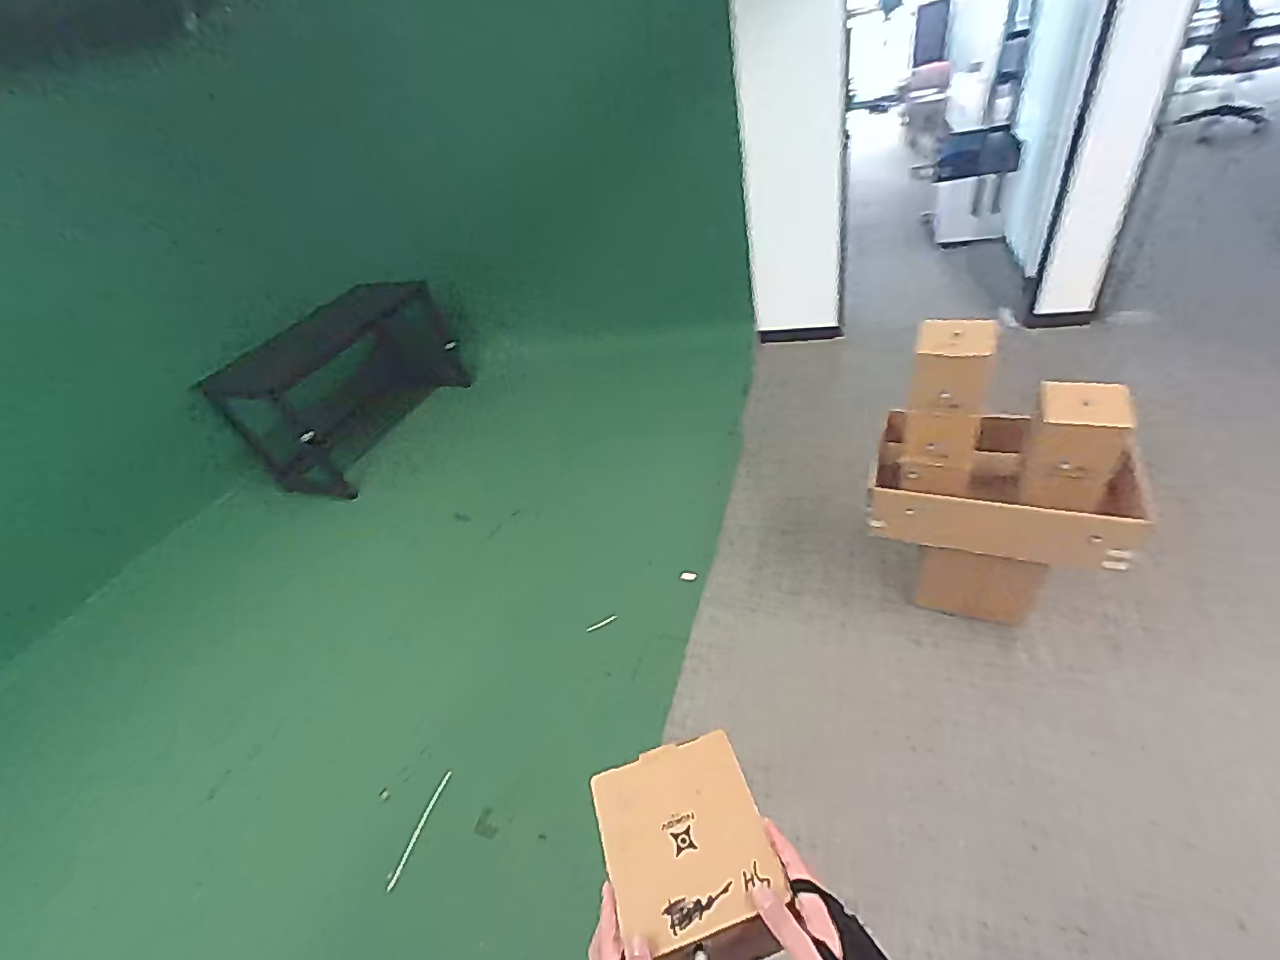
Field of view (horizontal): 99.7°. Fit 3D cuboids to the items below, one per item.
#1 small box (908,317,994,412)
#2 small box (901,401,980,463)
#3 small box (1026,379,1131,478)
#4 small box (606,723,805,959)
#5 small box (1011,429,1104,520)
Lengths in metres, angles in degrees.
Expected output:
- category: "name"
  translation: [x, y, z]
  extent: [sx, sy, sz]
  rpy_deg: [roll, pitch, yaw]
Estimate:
- category: "small box"
  translation: [0.789, -0.297, 1.380]
  extent: [0.168, 0.176, 0.179]
  rpy_deg: [10, 46, 28]
- category: "small box"
  translation: [0.822, -0.172, 1.483]
  extent: [0.168, 0.176, 0.179]
  rpy_deg: [9, 46, 27]
- category: "small box"
  translation: [1.081, -0.132, 1.348]
  extent: [0.168, 0.176, 0.179]
  rpy_deg: [8, 46, 27]
- category: "small box"
  translation: [0.070, 0.417, 0.610]
  extent: [0.168, 0.176, 0.179]
  rpy_deg: [-17, 38, -4]
- category: "small box"
  translation: [1.116, -0.014, 1.456]
  extent: [0.168, 0.176, 0.179]
  rpy_deg: [9, 46, 27]
